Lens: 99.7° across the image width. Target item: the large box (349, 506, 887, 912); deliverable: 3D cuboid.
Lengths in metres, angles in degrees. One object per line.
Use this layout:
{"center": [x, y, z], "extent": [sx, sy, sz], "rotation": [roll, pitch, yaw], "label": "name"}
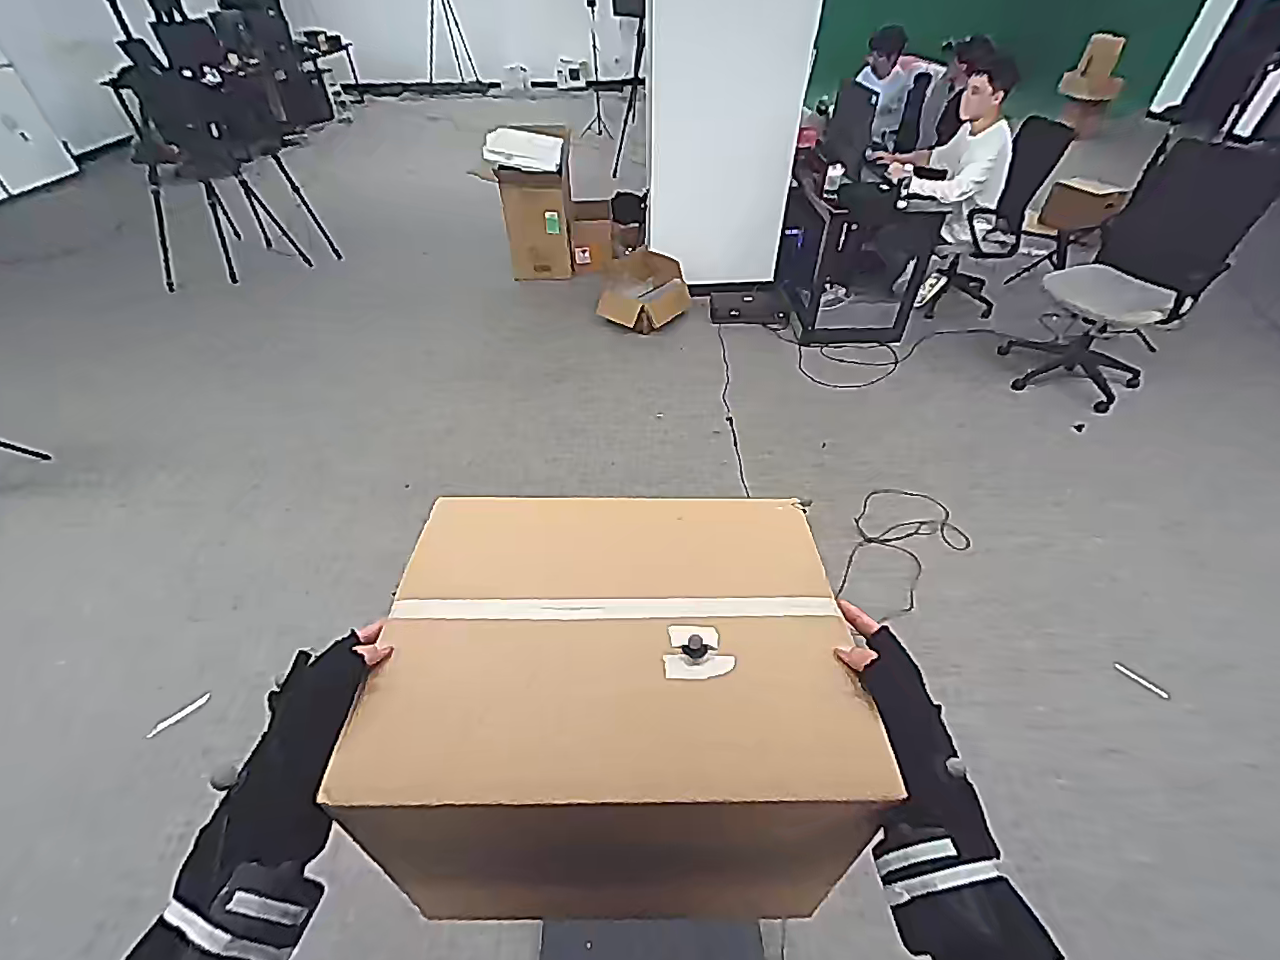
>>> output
{"center": [-0.020, 0.242, 0.599], "extent": [0.408, 0.320, 0.320], "rotation": [0, 39, -1], "label": "large box"}
